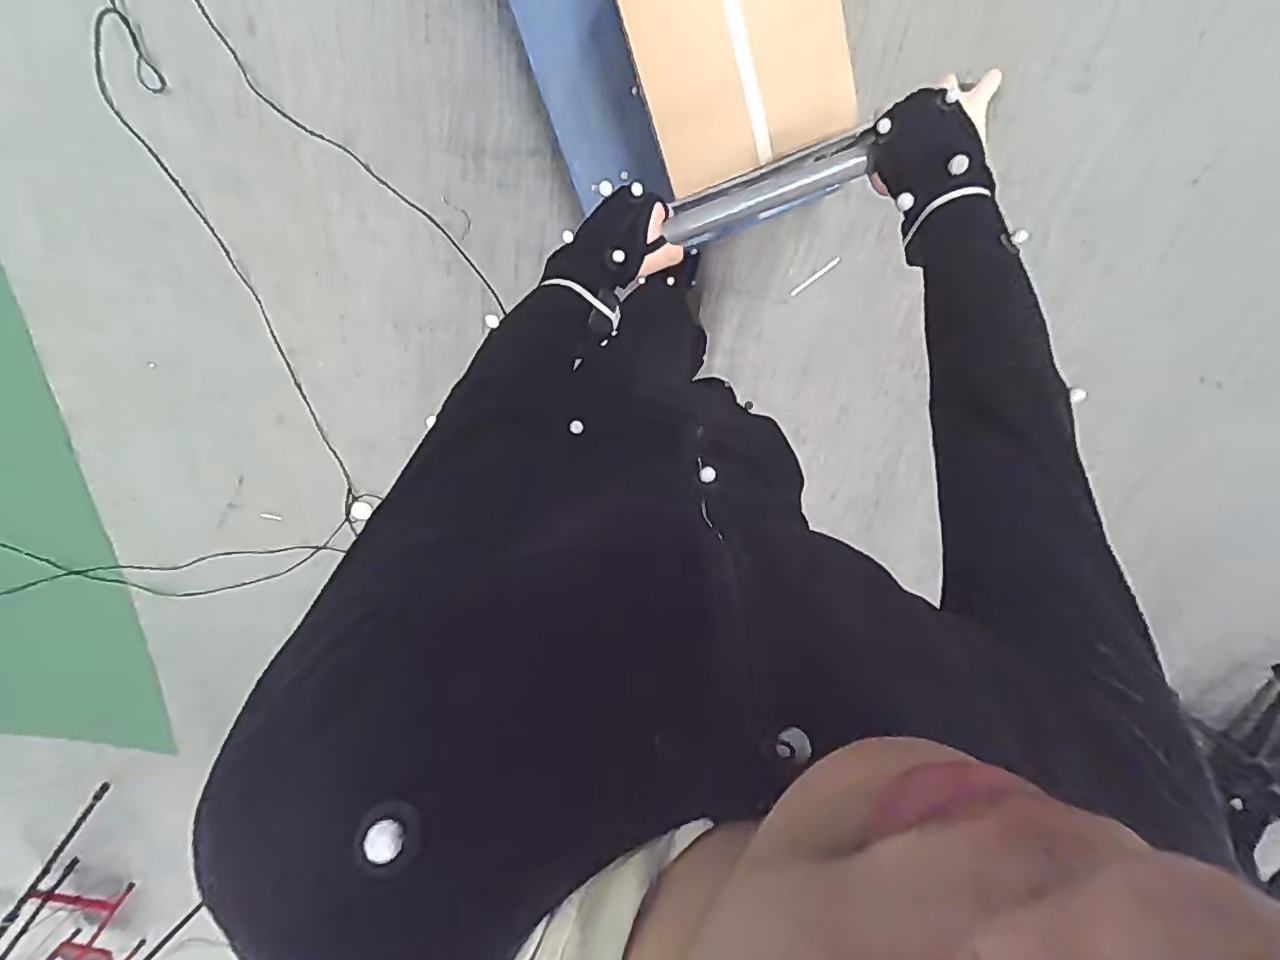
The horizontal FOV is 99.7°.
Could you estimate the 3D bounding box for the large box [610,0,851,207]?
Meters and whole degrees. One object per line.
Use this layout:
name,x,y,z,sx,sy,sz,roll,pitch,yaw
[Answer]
large box,0.145,-0.761,0.976,0.320,0.320,0.408,-17,113,10
